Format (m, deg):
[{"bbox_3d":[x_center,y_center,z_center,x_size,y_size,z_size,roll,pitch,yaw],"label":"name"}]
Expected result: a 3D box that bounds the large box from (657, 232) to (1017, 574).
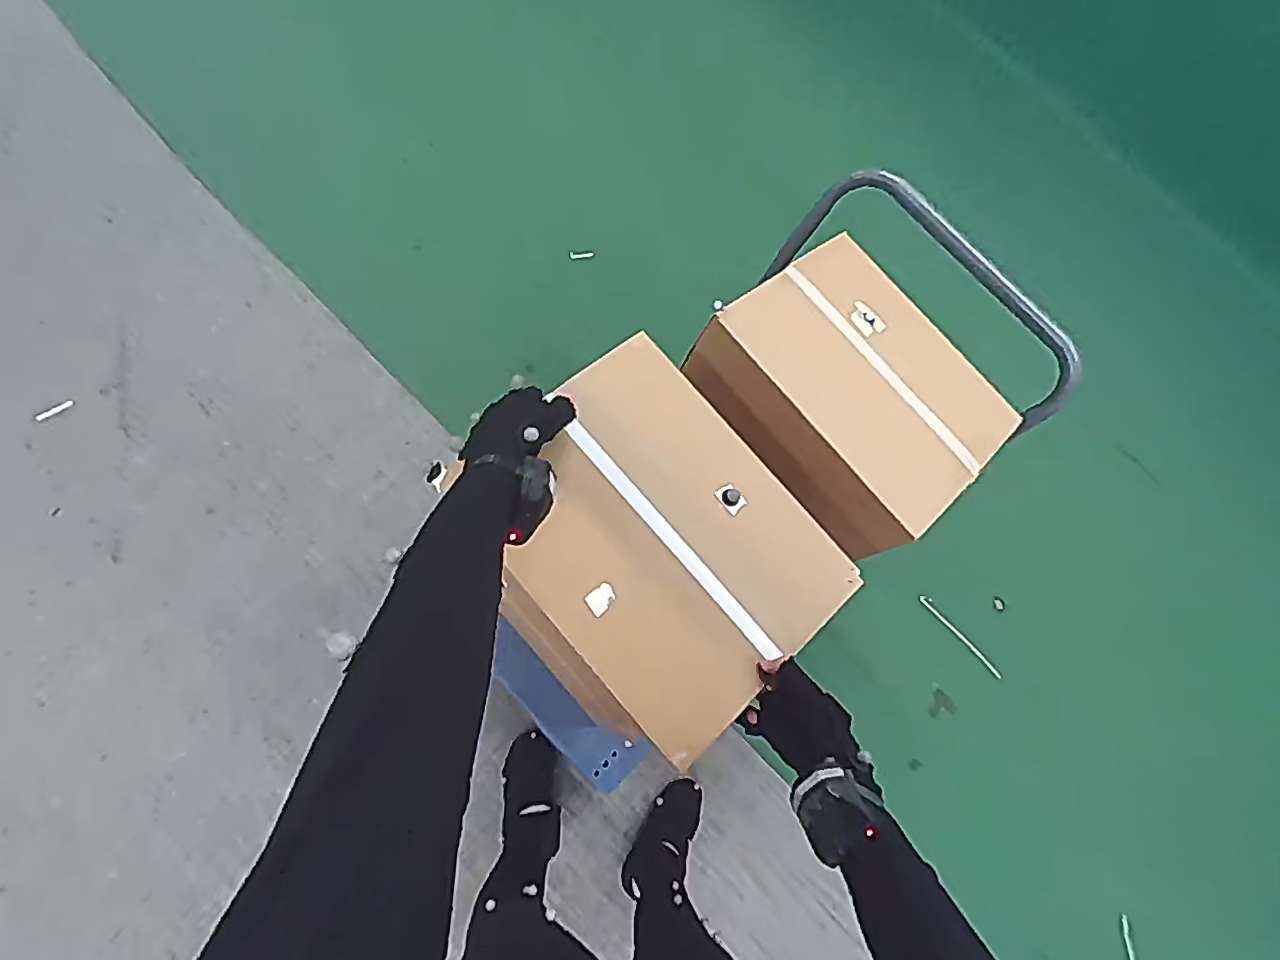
[{"bbox_3d":[0.294,-0.110,0.908,0.320,0.320,0.408,-37,82,-23],"label":"large box"}]
